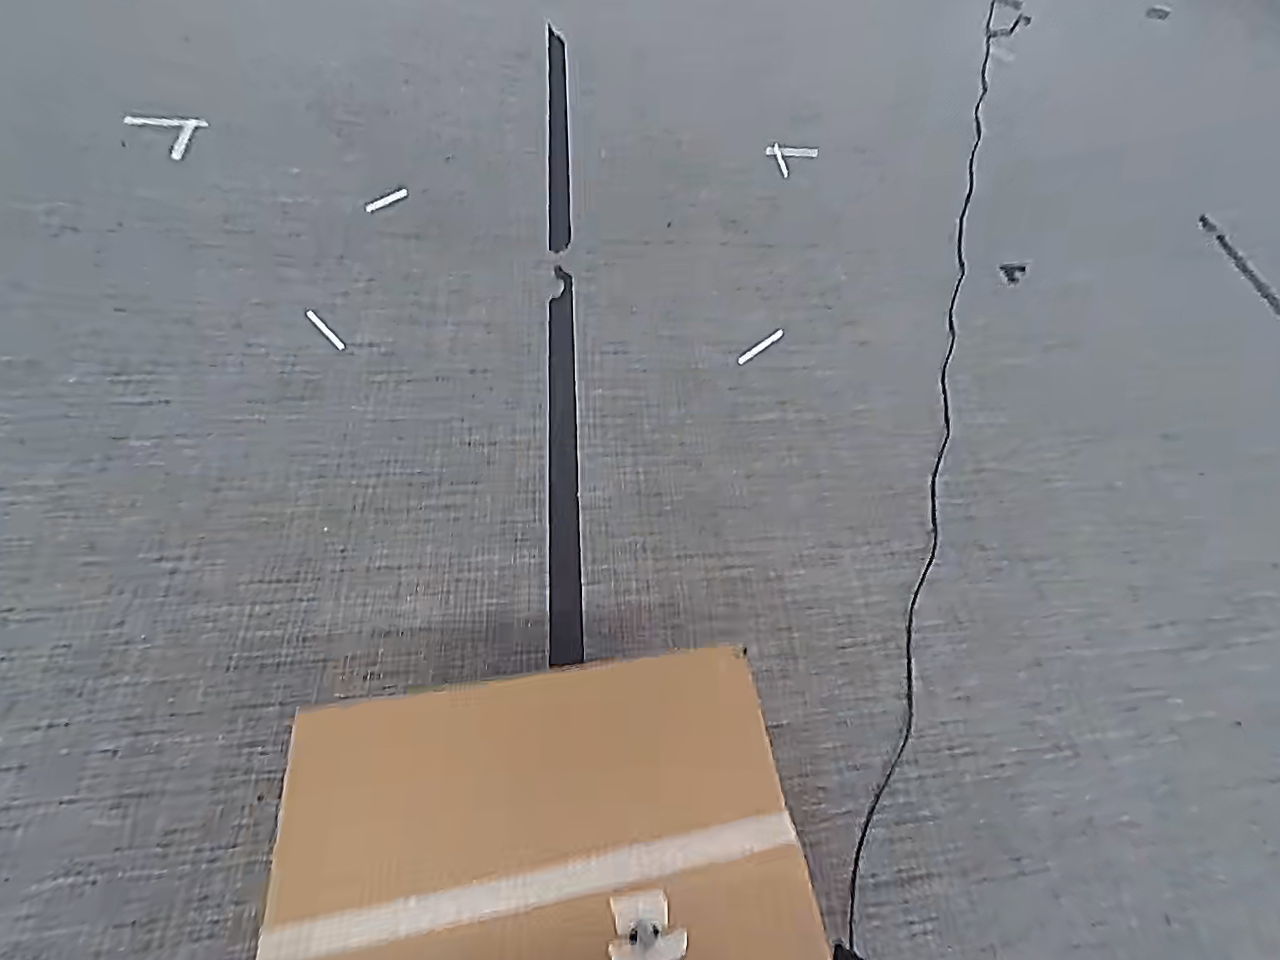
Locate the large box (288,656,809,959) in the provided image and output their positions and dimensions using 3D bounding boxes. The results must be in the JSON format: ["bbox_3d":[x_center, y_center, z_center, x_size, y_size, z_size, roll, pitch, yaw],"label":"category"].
[{"bbox_3d":[-0.090,0.408,0.572,0.408,0.320,0.320,-6,61,-10],"label":"large box"}]
